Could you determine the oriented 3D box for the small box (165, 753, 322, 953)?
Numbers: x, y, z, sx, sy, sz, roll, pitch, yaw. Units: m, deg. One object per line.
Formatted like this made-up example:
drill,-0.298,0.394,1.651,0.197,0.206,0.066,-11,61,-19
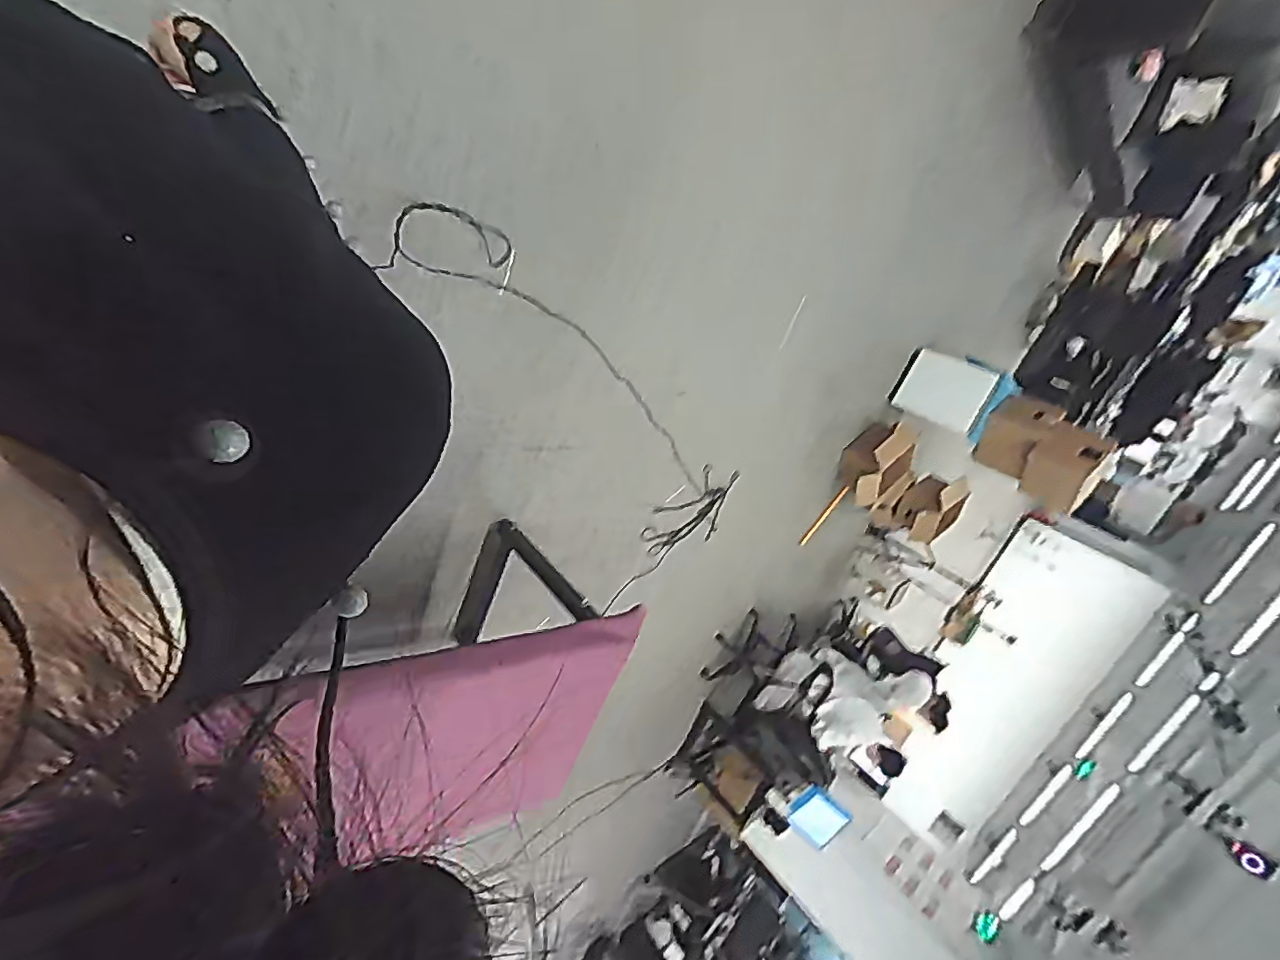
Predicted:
small box,-0.643,0.585,0.873,0.179,0.176,0.168,4,116,-47
